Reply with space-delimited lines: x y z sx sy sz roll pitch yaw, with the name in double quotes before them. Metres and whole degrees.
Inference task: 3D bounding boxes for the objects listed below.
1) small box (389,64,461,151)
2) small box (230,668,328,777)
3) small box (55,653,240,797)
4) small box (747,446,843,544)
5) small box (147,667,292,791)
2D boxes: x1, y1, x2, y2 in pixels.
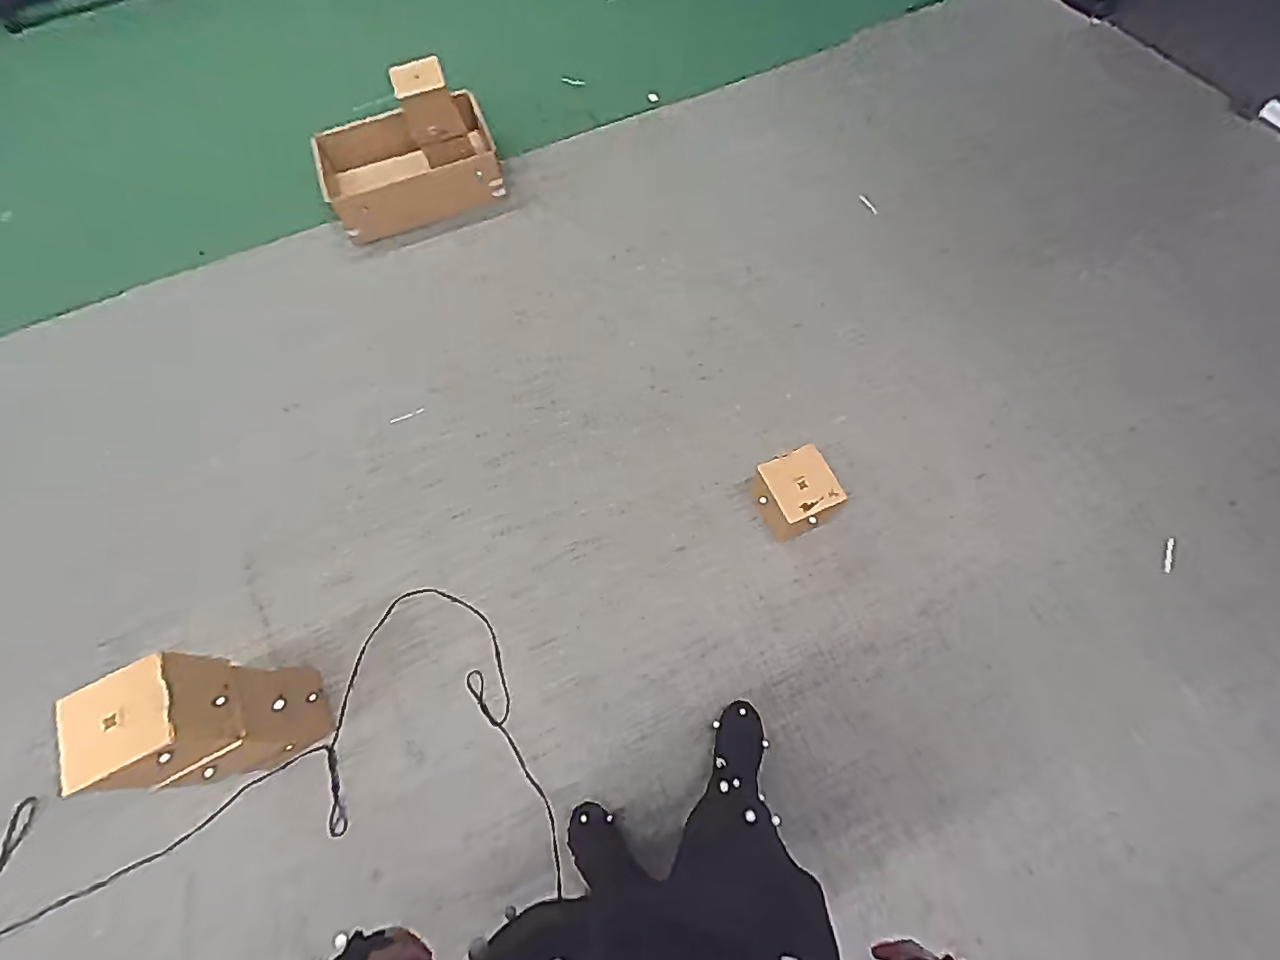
"small box" -0.744 -1.290 1.877 0.168 0.176 0.179 -20 68 -5
"small box" -0.871 0.568 1.273 0.179 0.176 0.168 -31 67 -10
"small box" -0.877 0.438 0.974 0.179 0.176 0.168 -28 67 -10
"small box" 0.399 0.044 1.432 0.168 0.176 0.179 -23 66 -7
"small box" -0.869 0.513 1.119 0.179 0.176 0.168 -27 67 -9
